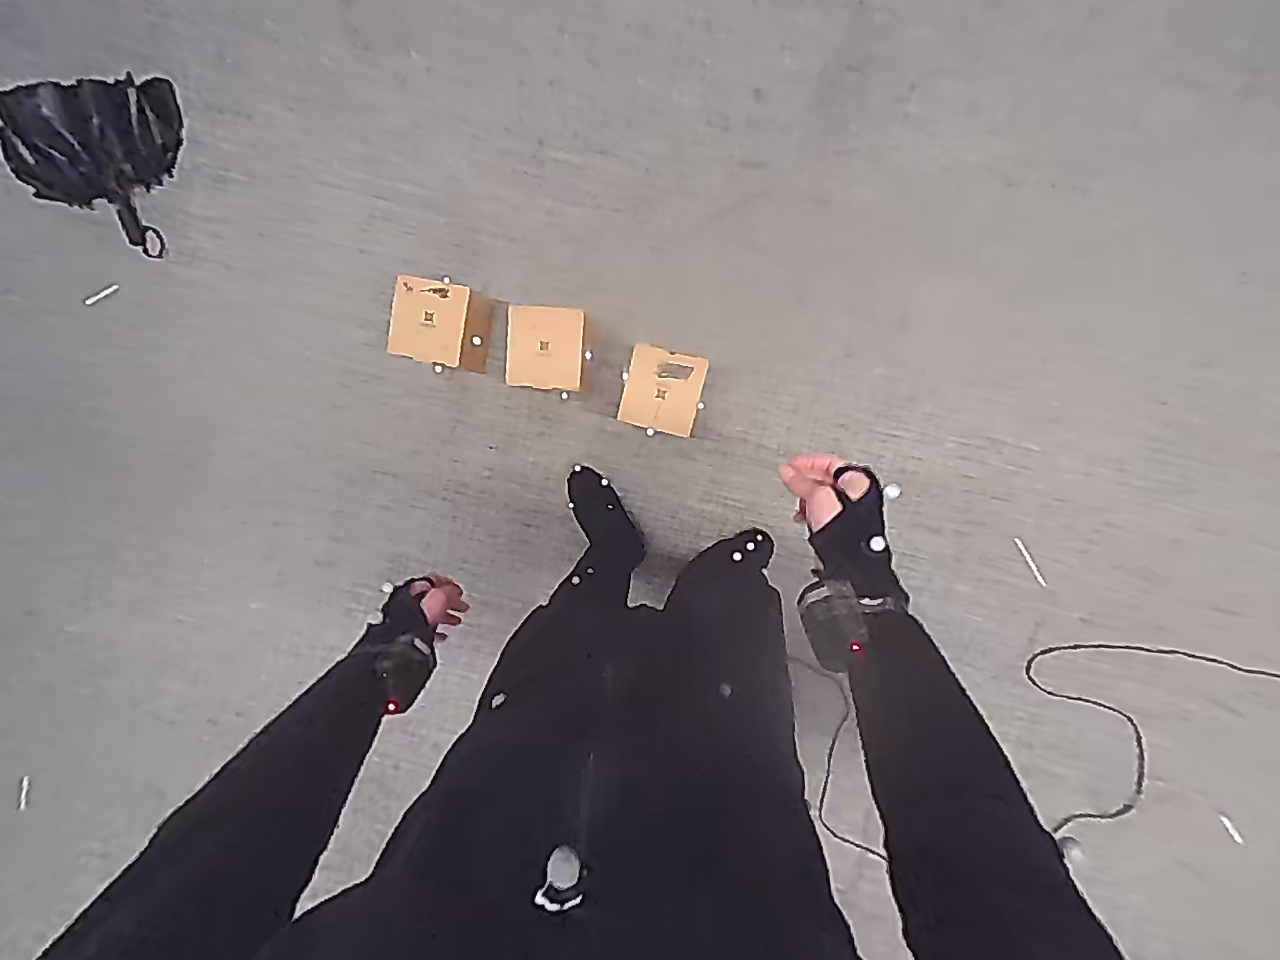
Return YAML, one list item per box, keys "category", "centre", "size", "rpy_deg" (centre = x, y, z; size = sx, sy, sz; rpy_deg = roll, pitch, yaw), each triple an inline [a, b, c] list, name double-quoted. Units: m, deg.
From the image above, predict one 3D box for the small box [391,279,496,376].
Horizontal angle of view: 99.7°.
- category: "small box"
  centre: [-0.448, -0.344, 1.254]
  size: [0.168, 0.176, 0.179]
  rpy_deg: [12, 96, 2]

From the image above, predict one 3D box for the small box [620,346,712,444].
- category: "small box"
  centre: [0.058, -0.190, 1.240]
  size: [0.168, 0.176, 0.179]
  rpy_deg: [15, 97, 2]

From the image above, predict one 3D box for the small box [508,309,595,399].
- category: "small box"
  centre: [-0.198, -0.283, 1.248]
  size: [0.168, 0.176, 0.179]
  rpy_deg: [4, 94, 1]
